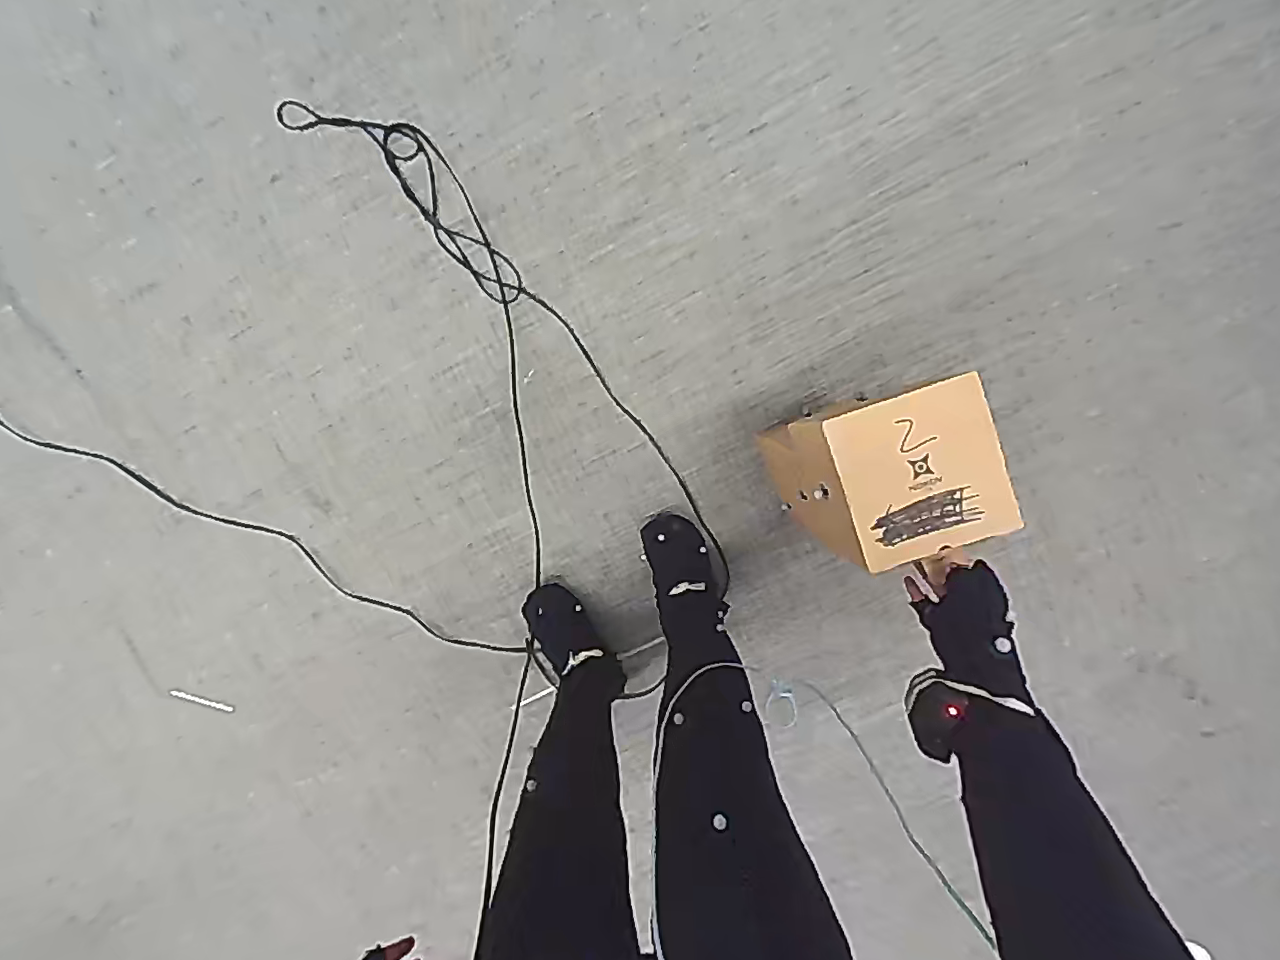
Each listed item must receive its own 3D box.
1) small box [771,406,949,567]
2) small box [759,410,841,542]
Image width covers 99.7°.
[{"bbox_3d":[0.316,0.000,0.813,0.168,0.176,0.179,-26,99,6],"label":"small box"},{"bbox_3d":[0.332,-0.015,0.977,0.168,0.176,0.179,-23,99,5],"label":"small box"}]
